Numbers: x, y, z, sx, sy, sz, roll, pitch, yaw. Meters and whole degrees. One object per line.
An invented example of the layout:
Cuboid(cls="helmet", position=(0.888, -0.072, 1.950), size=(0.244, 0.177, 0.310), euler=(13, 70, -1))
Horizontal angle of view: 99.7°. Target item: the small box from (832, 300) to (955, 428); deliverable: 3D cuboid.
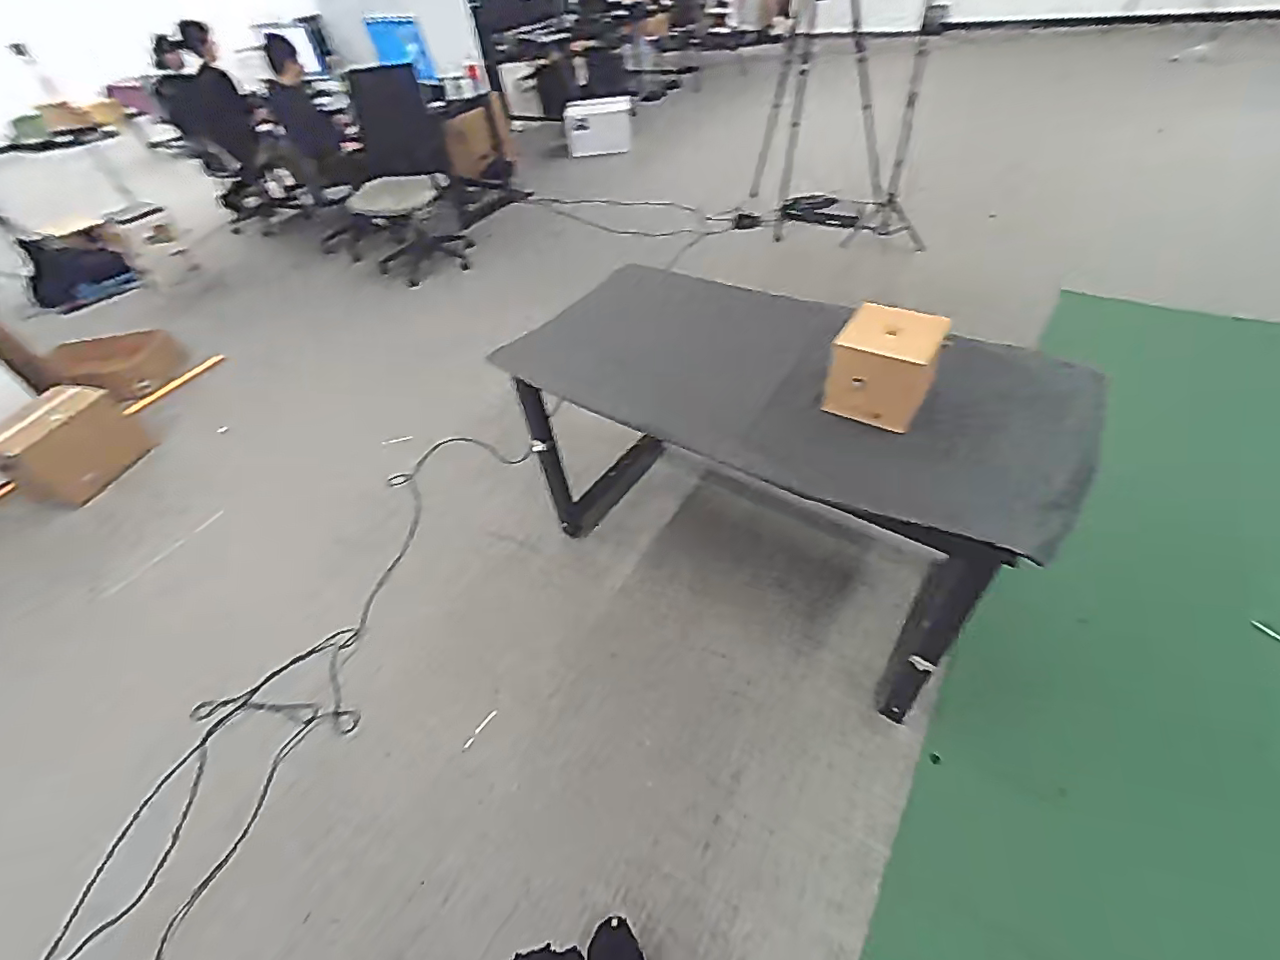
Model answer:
Cuboid(cls="small box", position=(0.497, -0.230, 1.079), size=(0.168, 0.176, 0.179), euler=(23, 53, 28))
